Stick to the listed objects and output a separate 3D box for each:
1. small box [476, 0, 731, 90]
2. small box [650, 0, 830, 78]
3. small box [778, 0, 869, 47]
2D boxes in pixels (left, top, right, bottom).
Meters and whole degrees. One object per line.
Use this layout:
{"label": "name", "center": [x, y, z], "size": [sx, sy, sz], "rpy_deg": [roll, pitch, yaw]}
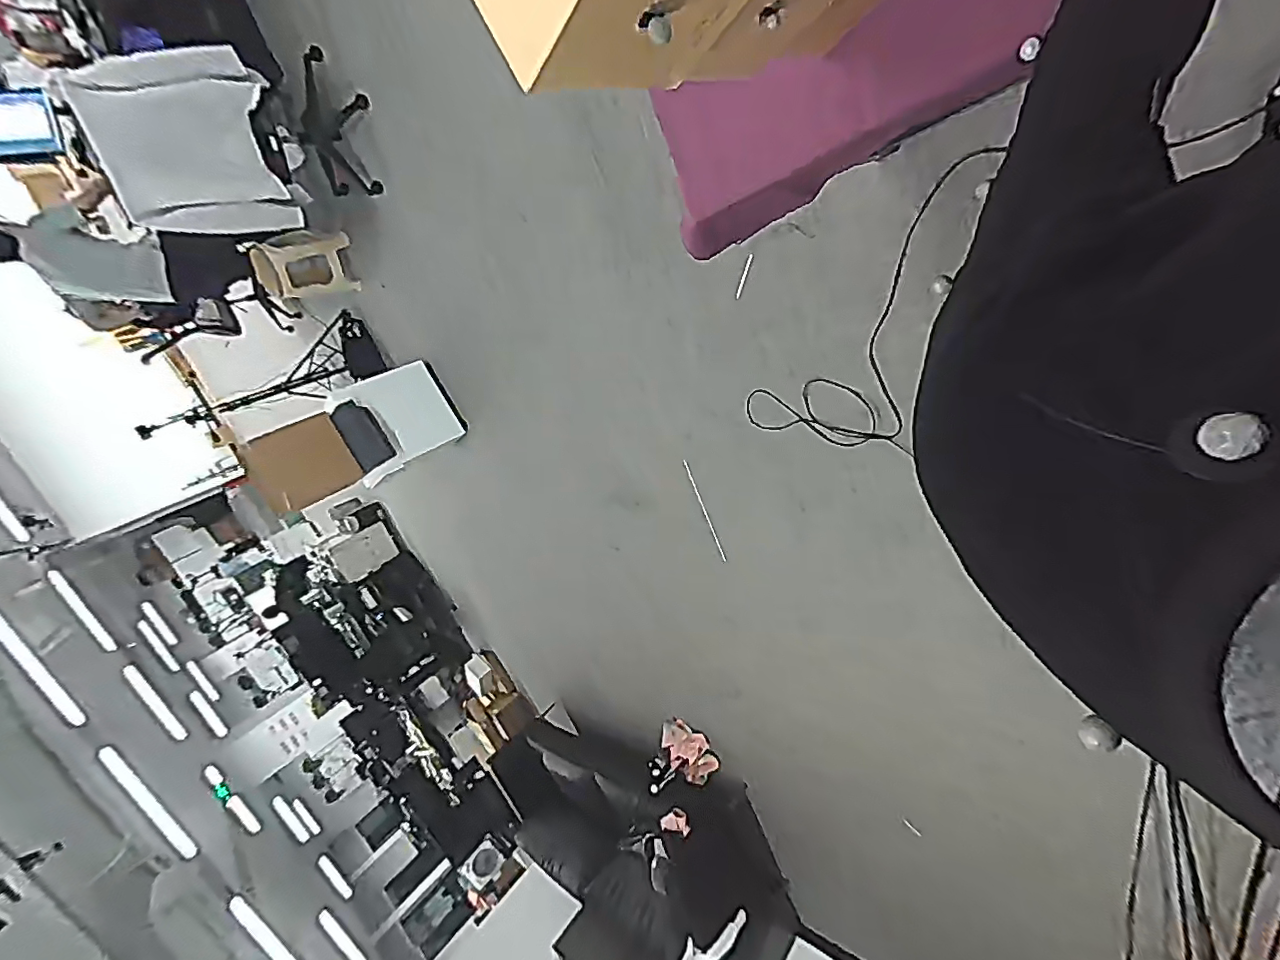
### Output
{"label": "small box", "center": [-0.016, -0.384, 0.331], "size": [0.168, 0.176, 0.179], "rpy_deg": [-20, 101, 51]}
{"label": "small box", "center": [0.078, -0.468, 0.435], "size": [0.179, 0.176, 0.168], "rpy_deg": [-14, 107, 50]}
{"label": "small box", "center": [0.174, -0.566, 0.526], "size": [0.168, 0.176, 0.179], "rpy_deg": [-14, 106, 50]}
